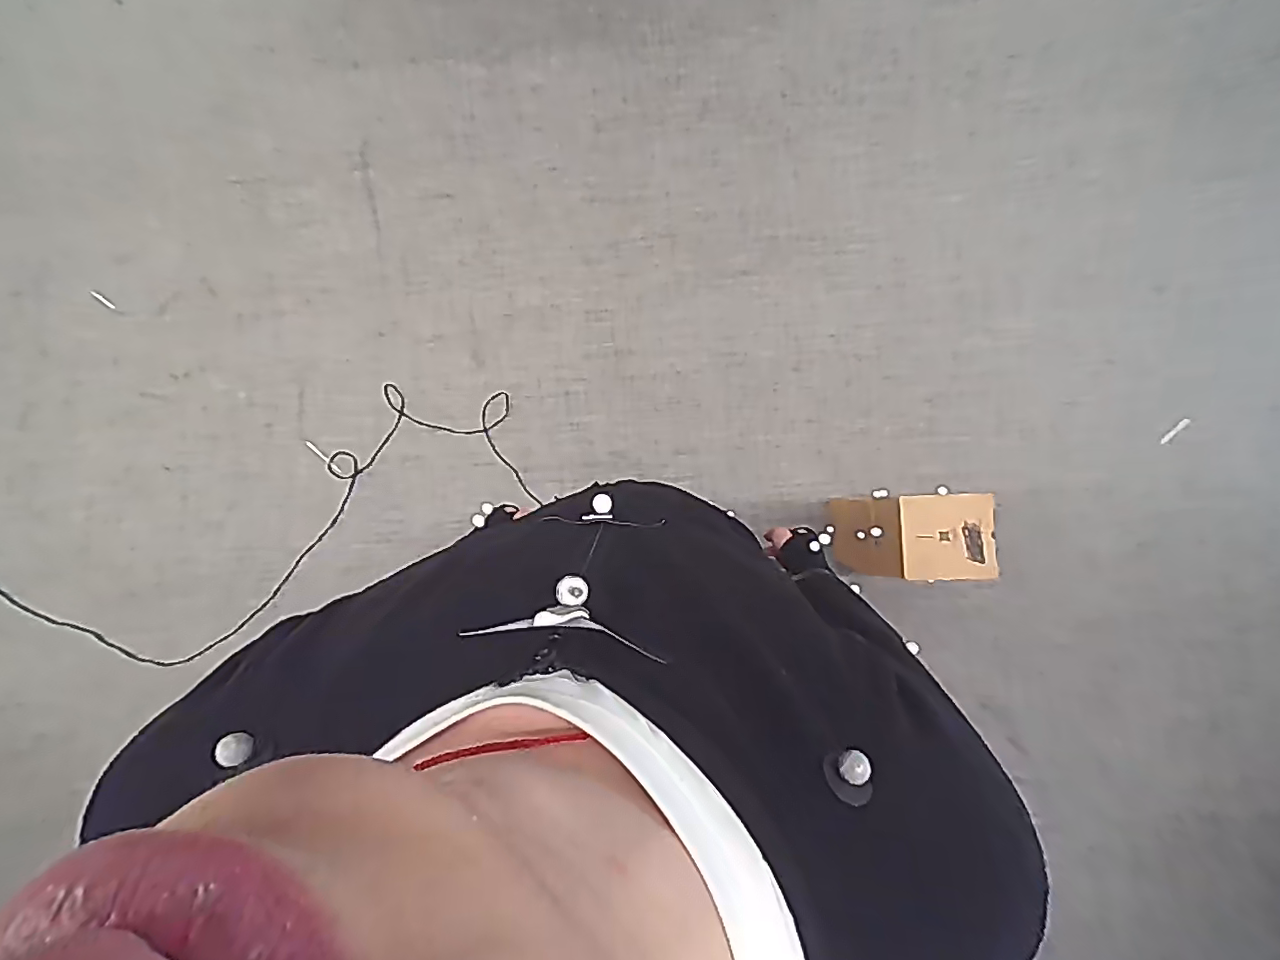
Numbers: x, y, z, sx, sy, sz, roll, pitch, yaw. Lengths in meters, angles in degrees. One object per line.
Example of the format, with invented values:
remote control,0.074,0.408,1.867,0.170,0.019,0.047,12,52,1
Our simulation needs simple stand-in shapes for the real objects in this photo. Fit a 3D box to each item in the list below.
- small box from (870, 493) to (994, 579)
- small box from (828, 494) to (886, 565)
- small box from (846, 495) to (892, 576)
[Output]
small box,0.598,0.110,1.124,0.179,0.176,0.168,-2,88,5
small box,0.612,0.128,1.450,0.168,0.176,0.179,-2,89,3
small box,0.602,0.124,1.289,0.168,0.176,0.179,-4,91,4
